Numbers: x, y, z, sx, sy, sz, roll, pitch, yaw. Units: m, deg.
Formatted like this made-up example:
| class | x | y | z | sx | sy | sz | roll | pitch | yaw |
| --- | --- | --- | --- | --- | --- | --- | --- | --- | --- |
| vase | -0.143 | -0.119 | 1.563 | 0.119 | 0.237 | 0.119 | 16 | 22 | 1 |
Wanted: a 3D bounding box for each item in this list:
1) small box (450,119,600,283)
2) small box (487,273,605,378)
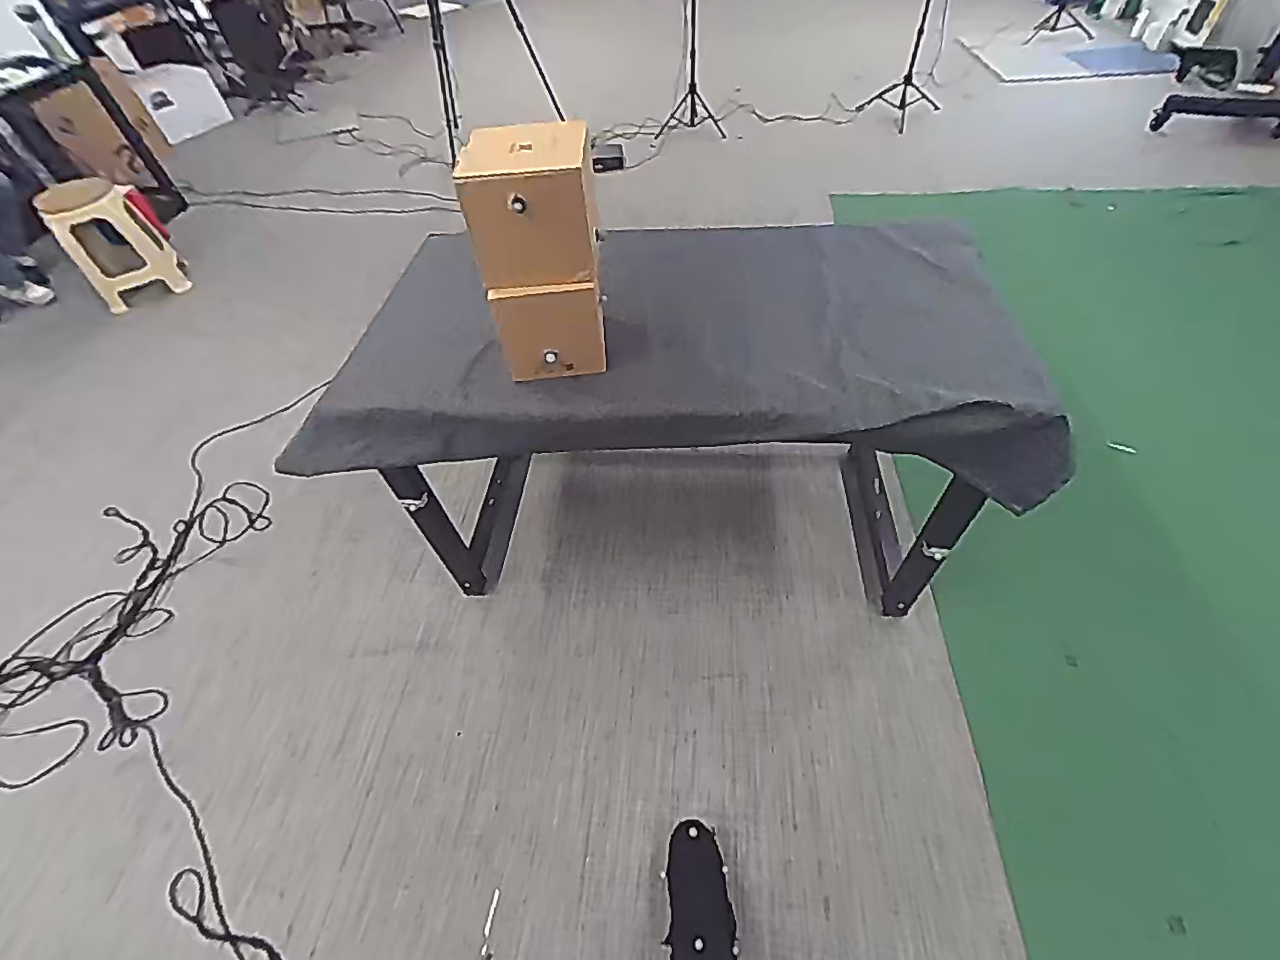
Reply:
| class | x | y | z | sx | sy | sz | roll | pitch | yaw |
| --- | --- | --- | --- | --- | --- | --- | --- | --- | --- |
| small box | -0.158 | -0.412 | 0.811 | 0.179 | 0.176 | 0.168 | -2 | 52 | 1 |
| small box | -0.152 | -0.299 | 0.928 | 0.168 | 0.176 | 0.179 | -6 | 52 | 0 |
